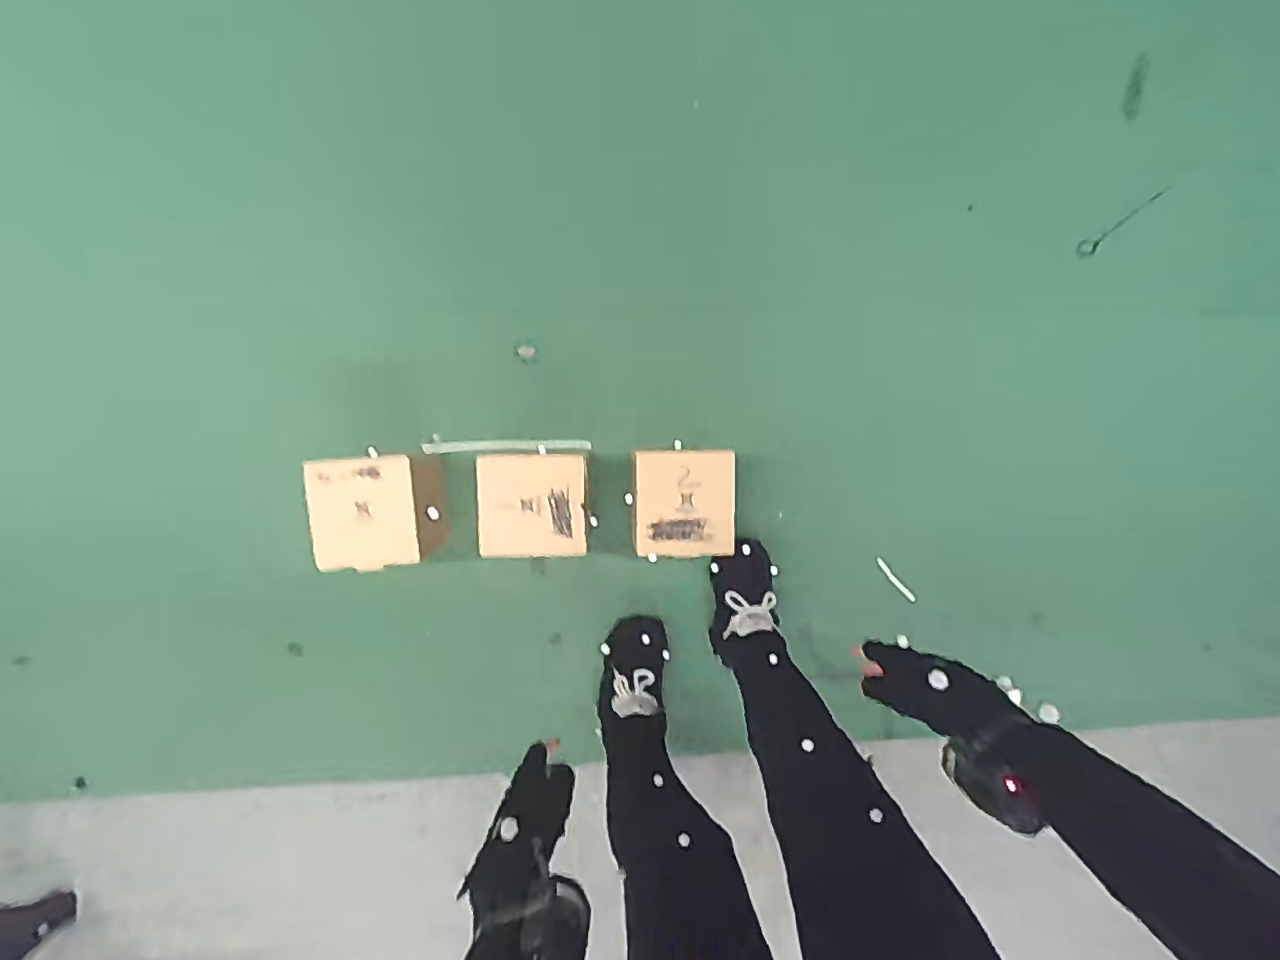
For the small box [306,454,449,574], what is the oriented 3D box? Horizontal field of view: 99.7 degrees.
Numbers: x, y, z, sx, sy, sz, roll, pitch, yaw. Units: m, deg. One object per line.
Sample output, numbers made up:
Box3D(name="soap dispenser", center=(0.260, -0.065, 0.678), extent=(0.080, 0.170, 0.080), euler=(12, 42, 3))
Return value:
Box3D(name="small box", center=(-0.442, 0.051, 0.940), extent=(0.168, 0.176, 0.179), euler=(-4, 97, -3))
